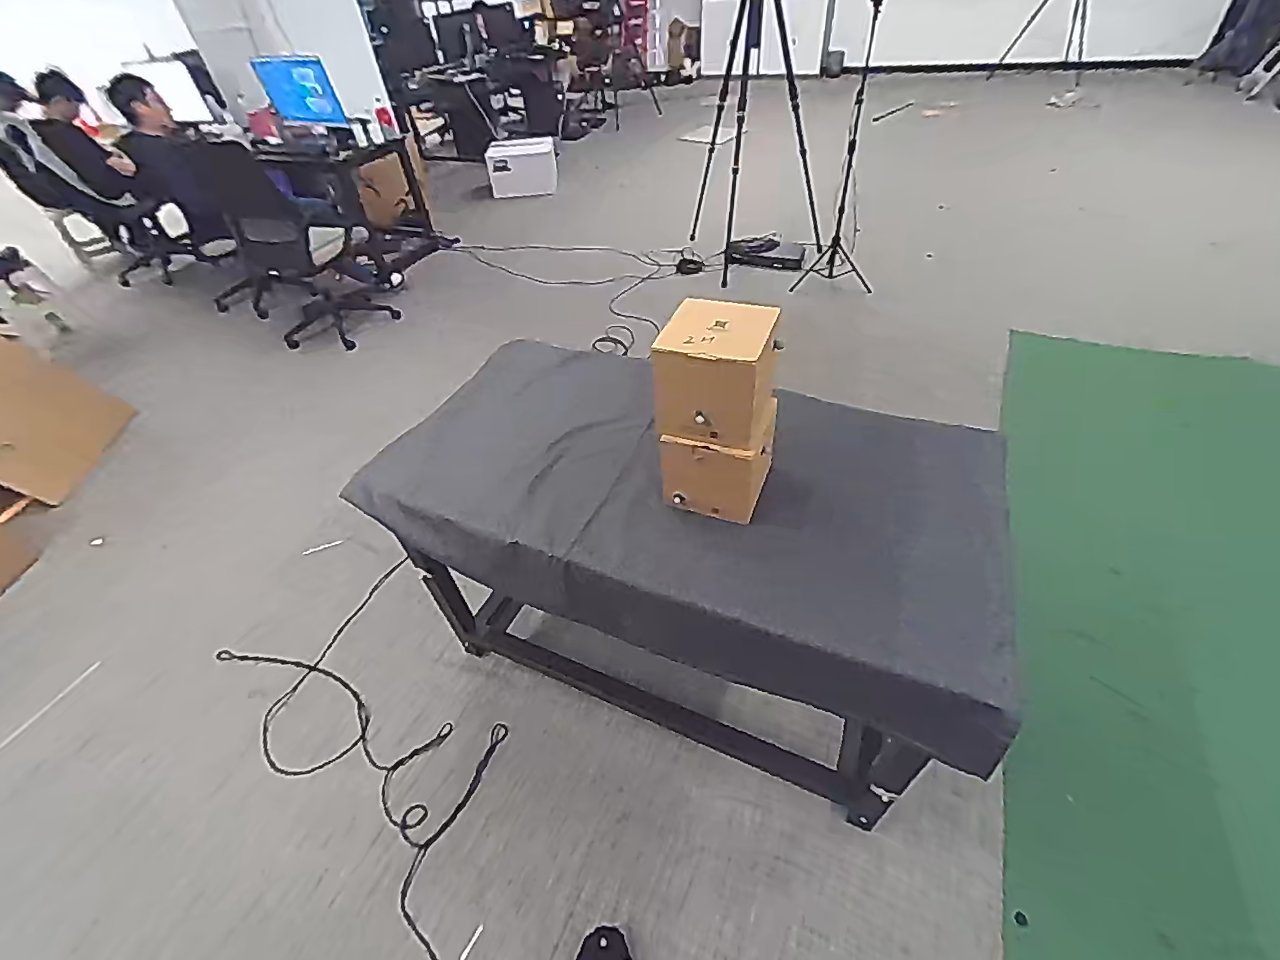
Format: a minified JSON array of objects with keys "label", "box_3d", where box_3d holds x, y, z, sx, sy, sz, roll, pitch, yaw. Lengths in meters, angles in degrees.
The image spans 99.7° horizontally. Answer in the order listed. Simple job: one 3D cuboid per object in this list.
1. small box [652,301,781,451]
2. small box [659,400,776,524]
[{"label":"small box","box_3d":[0.128,-0.175,0.904,0.168,0.176,0.179,12,48,19]},{"label":"small box","box_3d":[0.147,-0.045,1.003,0.168,0.176,0.179,14,46,20]}]
